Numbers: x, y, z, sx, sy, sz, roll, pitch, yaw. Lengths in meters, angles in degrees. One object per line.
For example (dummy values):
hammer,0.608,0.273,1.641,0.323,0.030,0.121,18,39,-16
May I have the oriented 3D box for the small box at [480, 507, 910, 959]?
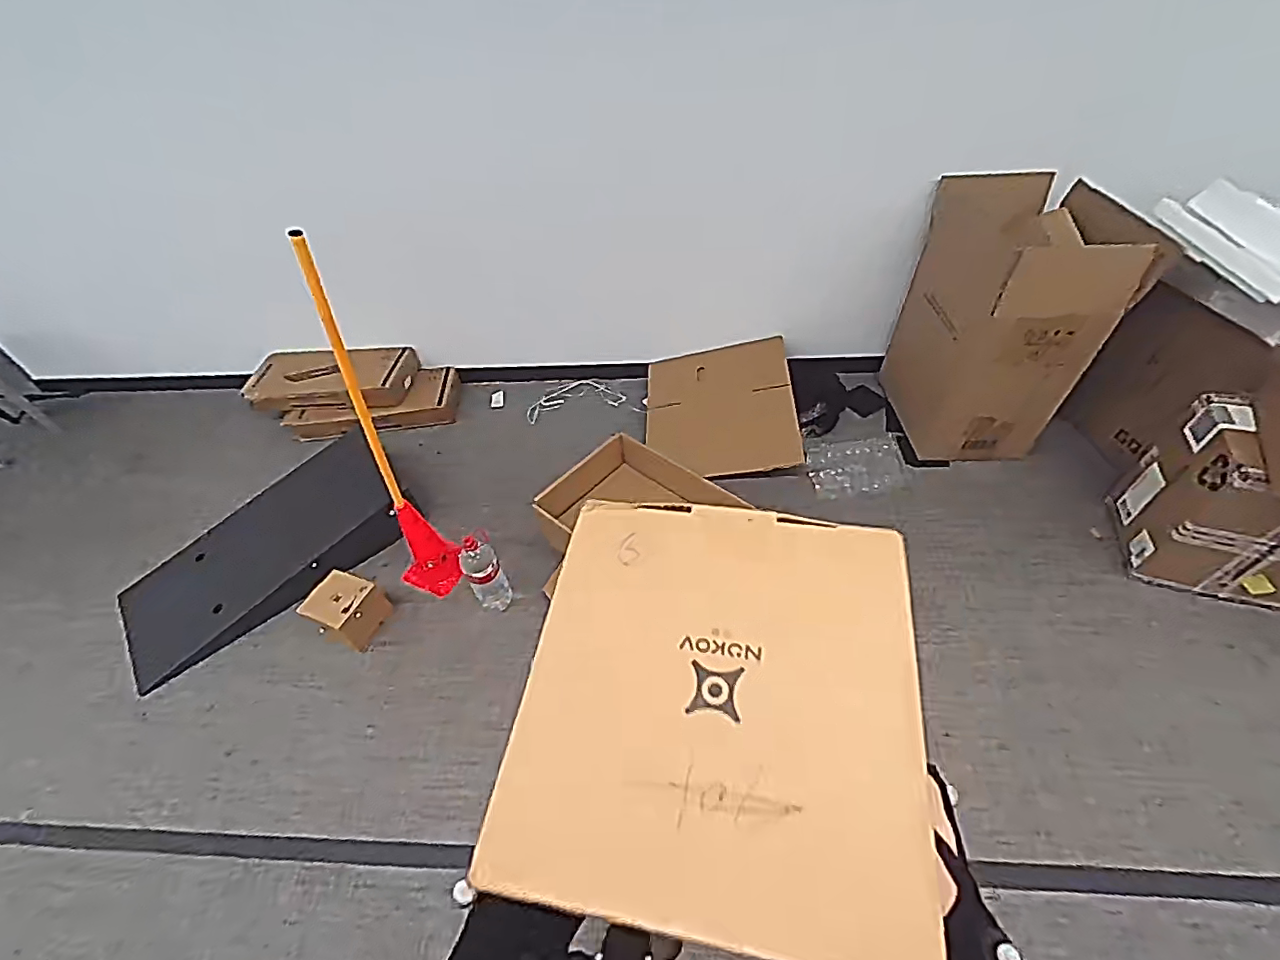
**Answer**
small box,0.038,0.141,0.311,0.168,0.176,0.179,6,53,12
